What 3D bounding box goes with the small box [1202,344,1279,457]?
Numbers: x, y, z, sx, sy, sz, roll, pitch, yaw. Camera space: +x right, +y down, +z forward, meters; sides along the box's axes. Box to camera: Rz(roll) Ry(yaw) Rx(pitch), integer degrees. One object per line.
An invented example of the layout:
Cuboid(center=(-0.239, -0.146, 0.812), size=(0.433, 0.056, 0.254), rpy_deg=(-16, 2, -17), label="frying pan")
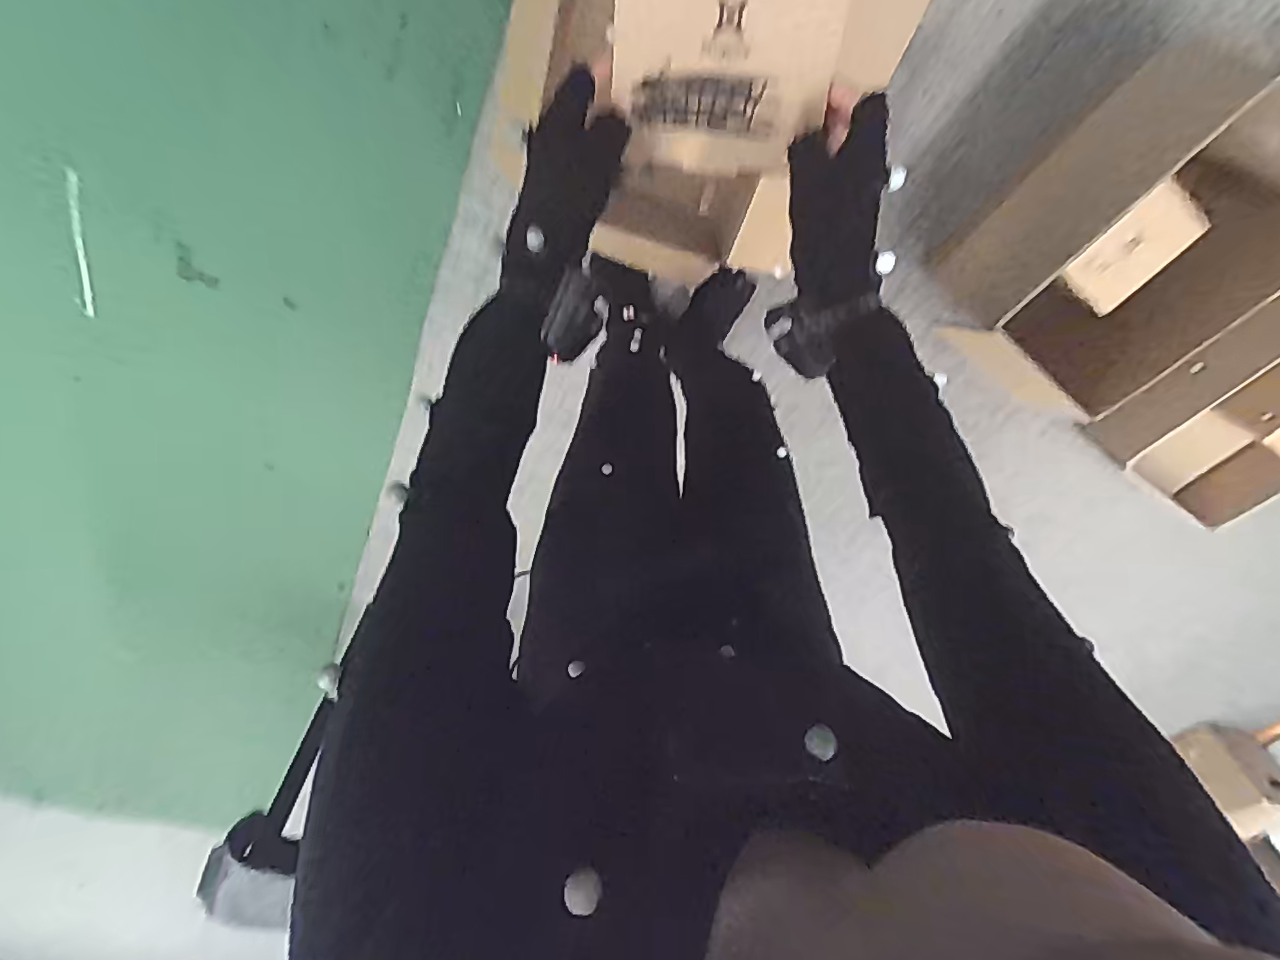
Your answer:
Cuboid(center=(1.387, -0.159, 1.151), size=(0.168, 0.176, 0.179), rpy_deg=(22, 125, -16), label="small box")
